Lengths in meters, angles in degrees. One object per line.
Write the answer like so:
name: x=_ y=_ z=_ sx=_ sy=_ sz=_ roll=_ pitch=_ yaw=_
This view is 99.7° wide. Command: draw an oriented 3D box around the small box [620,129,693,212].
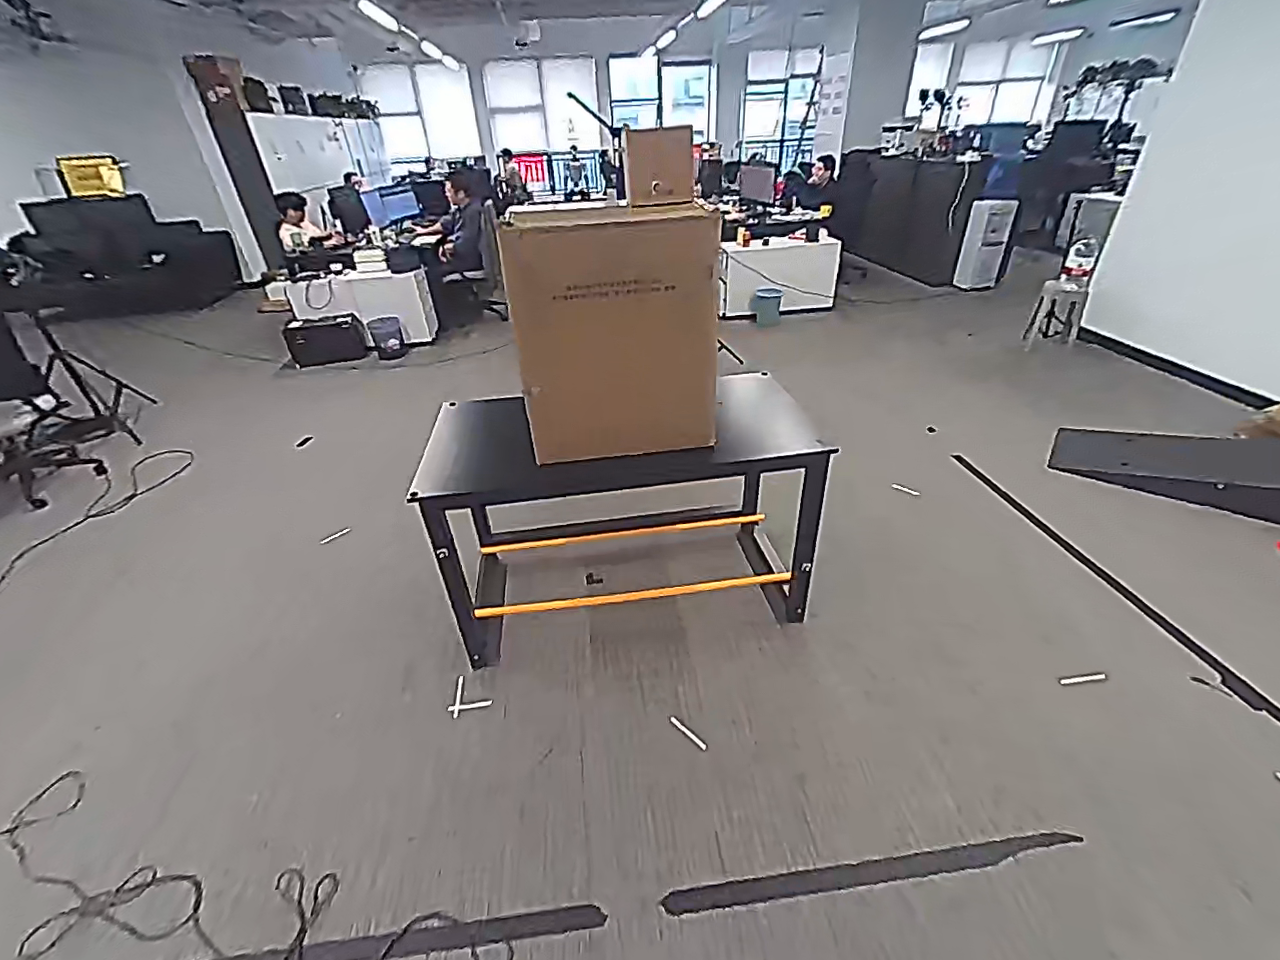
small box: x=0.040 y=-0.799 z=1.399 sx=0.168 sy=0.176 sz=0.179 roll=-8 pitch=32 yaw=-2
